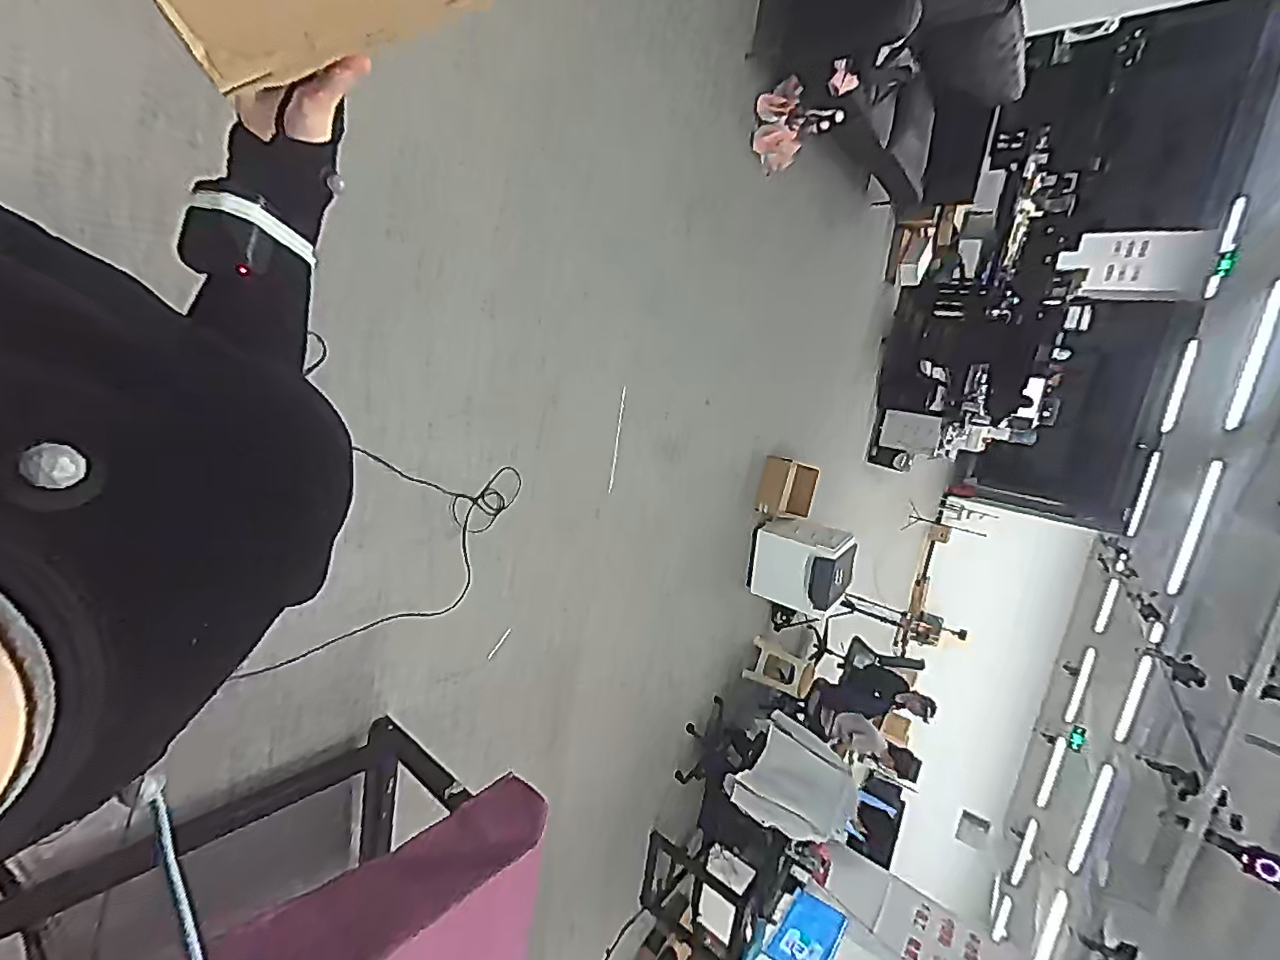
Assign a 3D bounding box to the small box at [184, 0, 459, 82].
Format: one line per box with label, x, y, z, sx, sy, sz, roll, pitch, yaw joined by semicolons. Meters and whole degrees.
small box;-0.193;-0.355;0.298;0.168;0.179;0.176;-22;132;1
